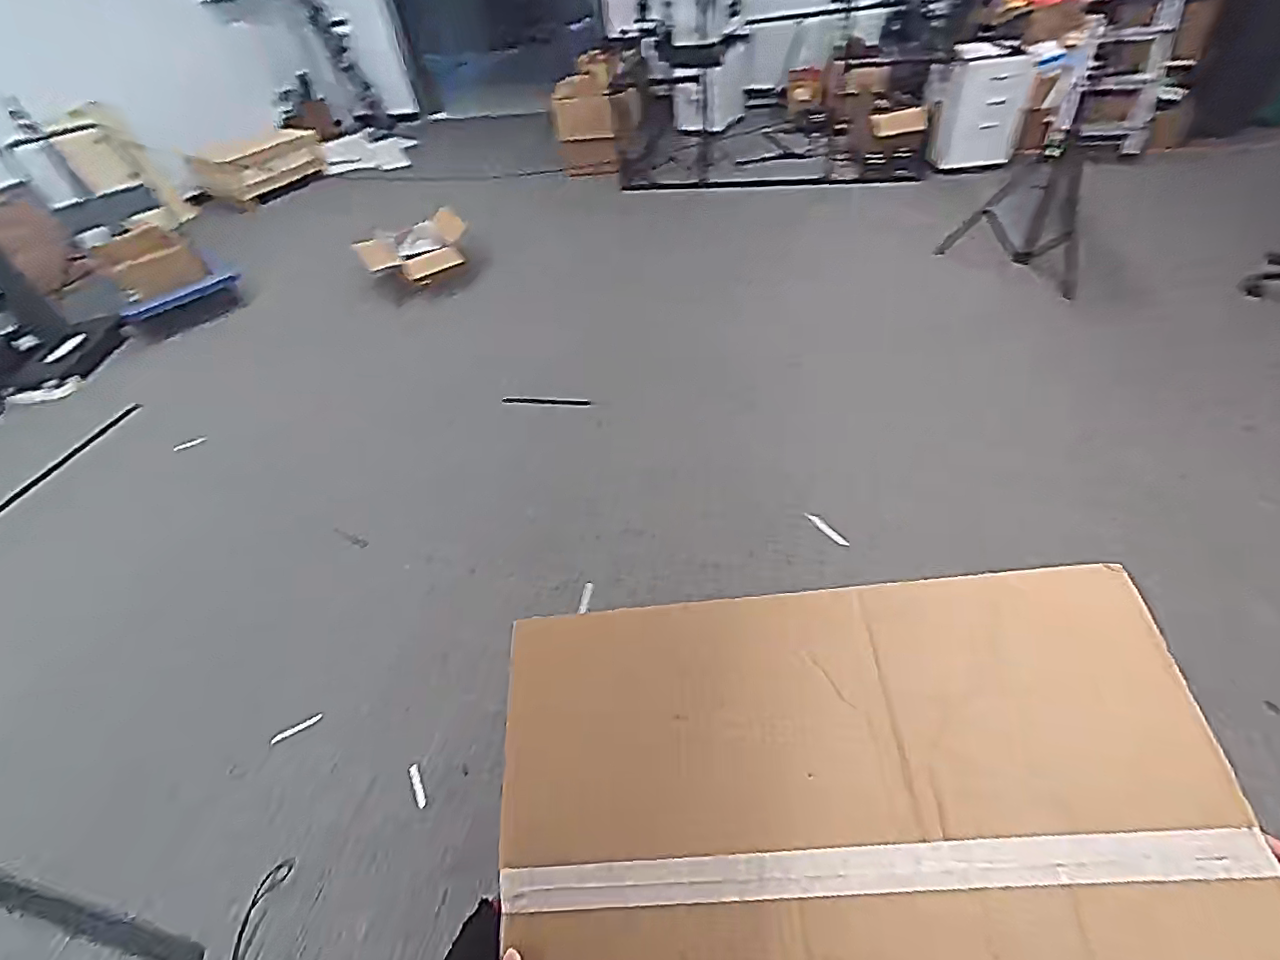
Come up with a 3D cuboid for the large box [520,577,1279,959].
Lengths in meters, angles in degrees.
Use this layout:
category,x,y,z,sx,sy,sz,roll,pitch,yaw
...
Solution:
category,x,y,z,sx,sy,sz,roll,pitch,yaw
large box,0.144,0.296,0.434,0.408,0.320,0.320,-8,62,5
